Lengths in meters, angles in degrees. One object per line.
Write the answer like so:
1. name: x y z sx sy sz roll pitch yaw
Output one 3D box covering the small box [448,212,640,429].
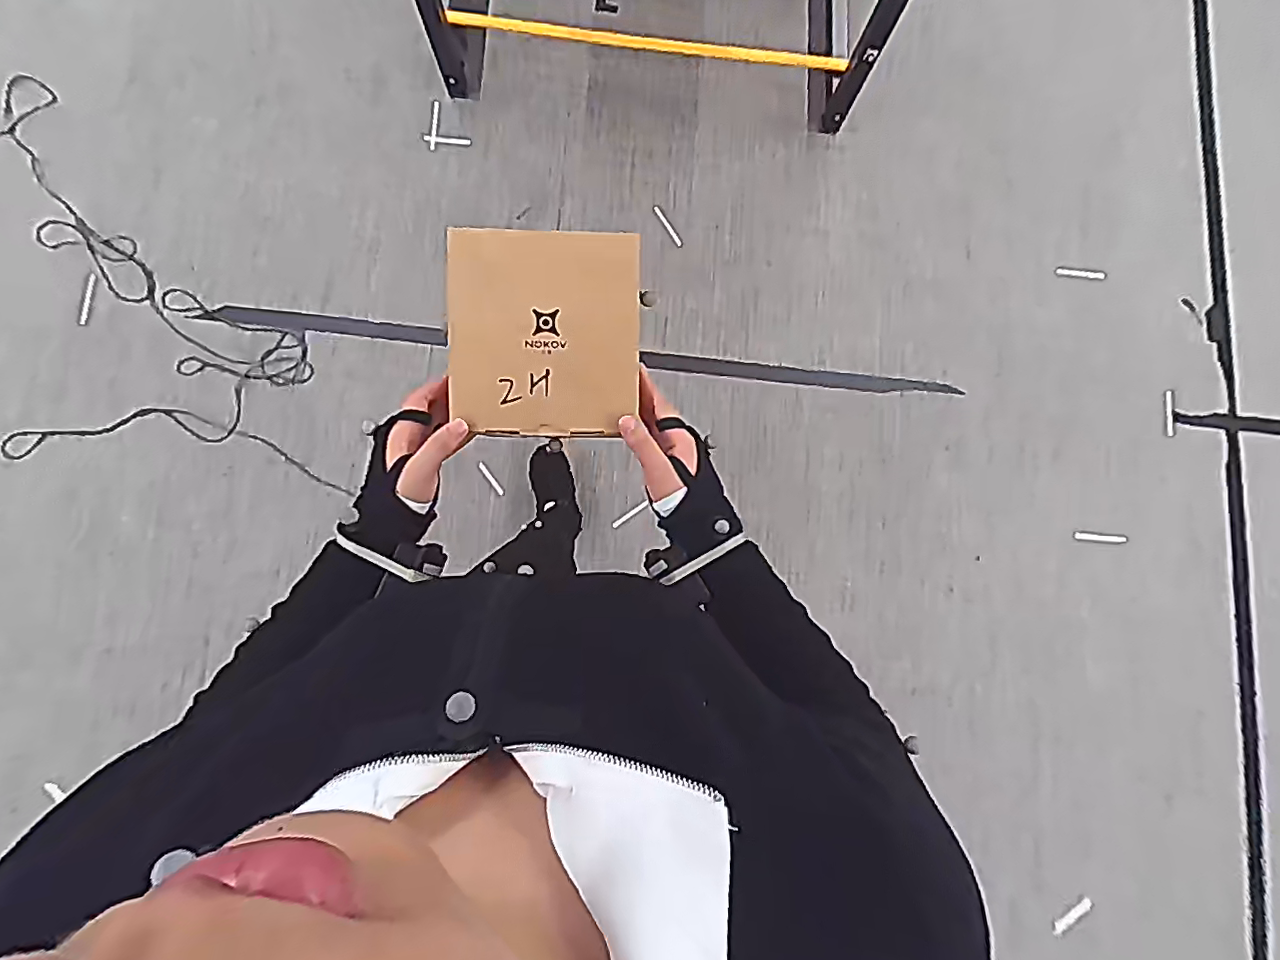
1. small box: -0.089 -0.145 0.550 0.168 0.176 0.179 0 93 -3
